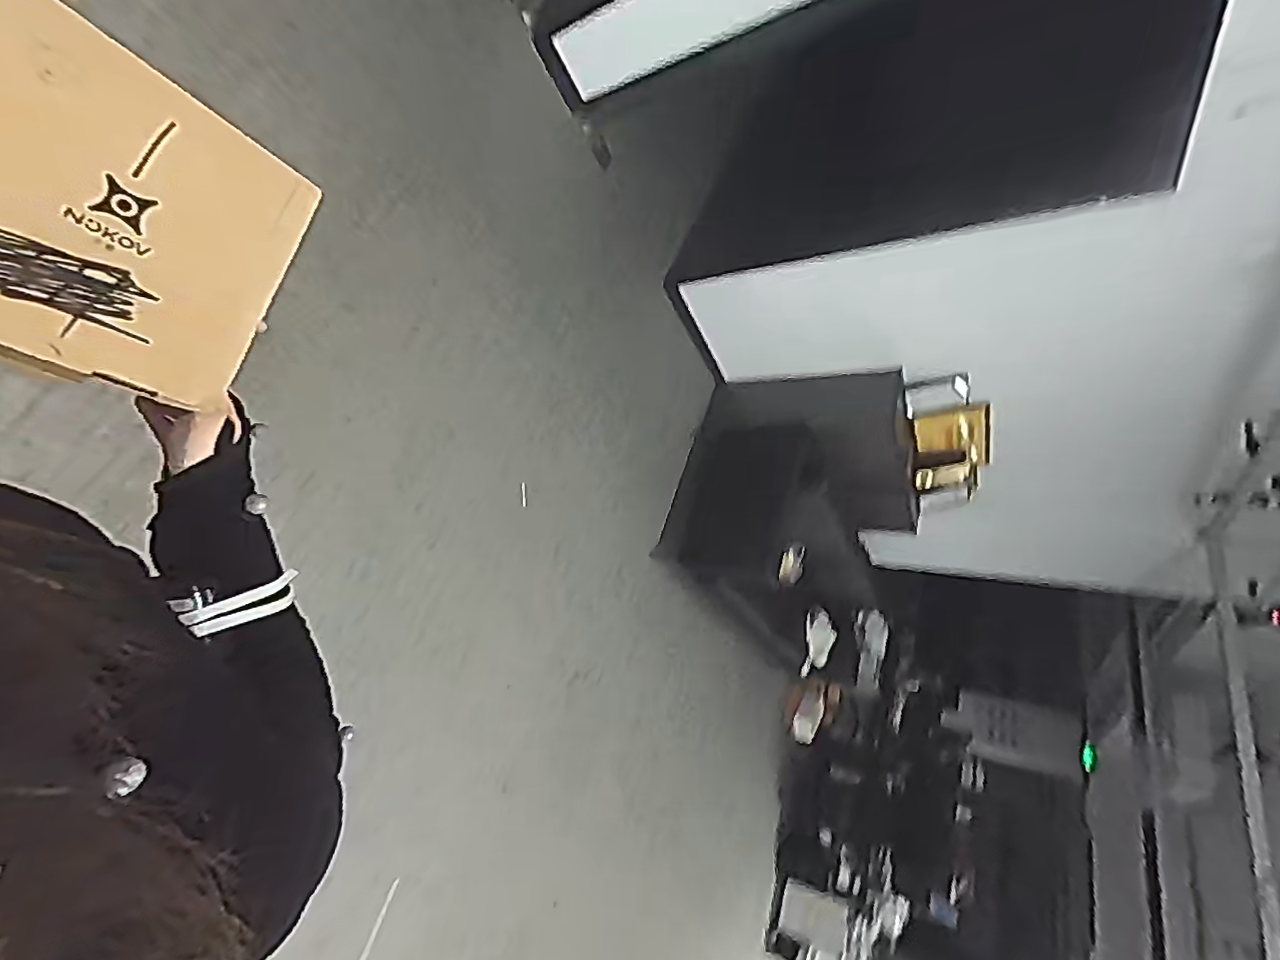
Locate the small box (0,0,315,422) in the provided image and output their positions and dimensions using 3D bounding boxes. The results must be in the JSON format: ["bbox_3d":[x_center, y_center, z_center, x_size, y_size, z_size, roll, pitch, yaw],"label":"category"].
[{"bbox_3d":[-0.360,-0.155,0.355,0.168,0.176,0.179,29,76,-50],"label":"small box"}]
